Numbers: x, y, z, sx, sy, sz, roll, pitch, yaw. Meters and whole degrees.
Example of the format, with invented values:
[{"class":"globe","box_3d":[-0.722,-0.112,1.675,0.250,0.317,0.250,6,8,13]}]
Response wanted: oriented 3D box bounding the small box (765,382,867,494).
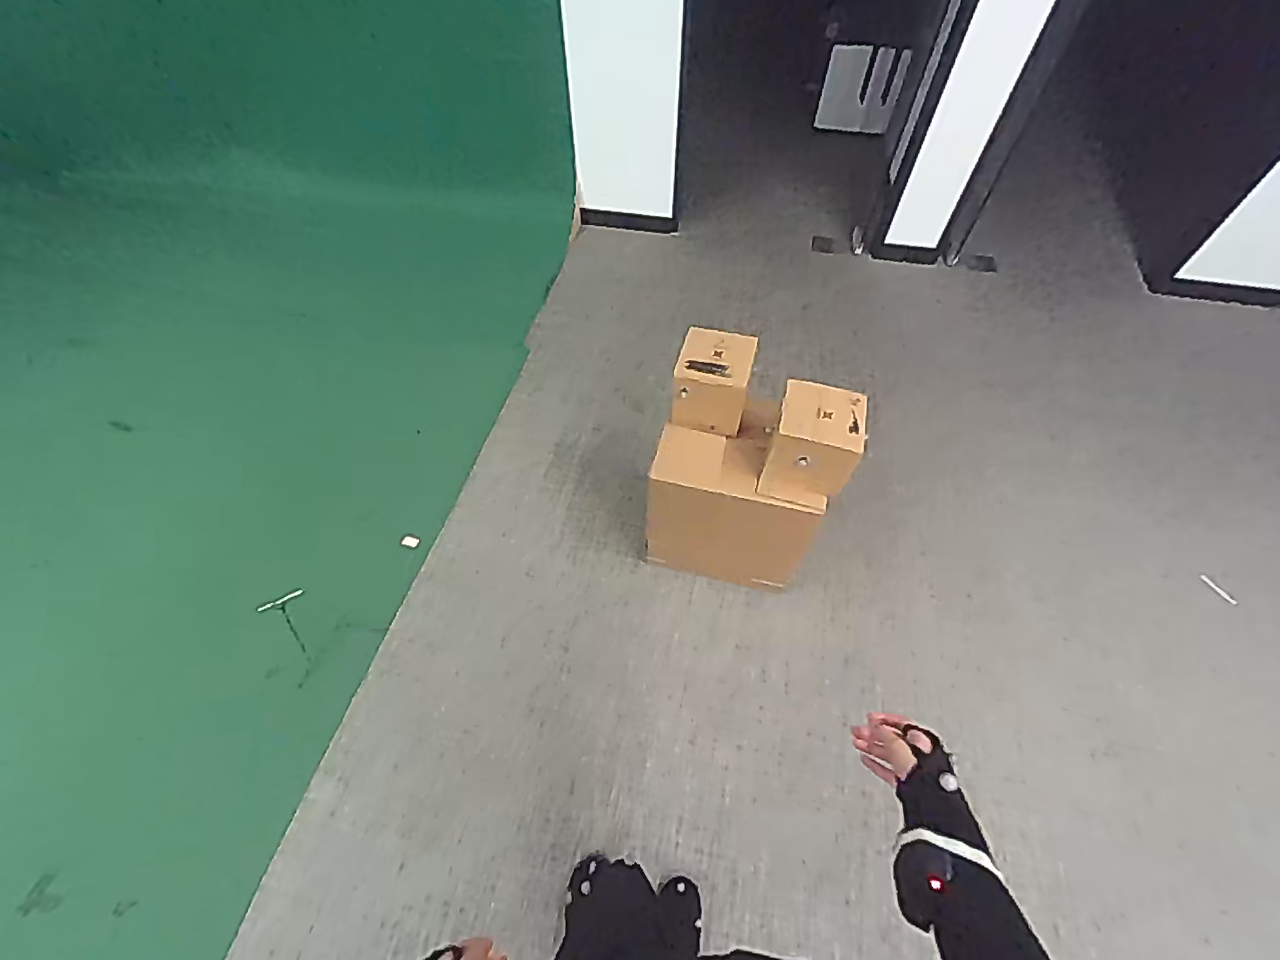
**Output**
[{"class":"small box","box_3d":[0.383,-0.089,1.199,0.179,0.176,0.168,13,58,10]}]
